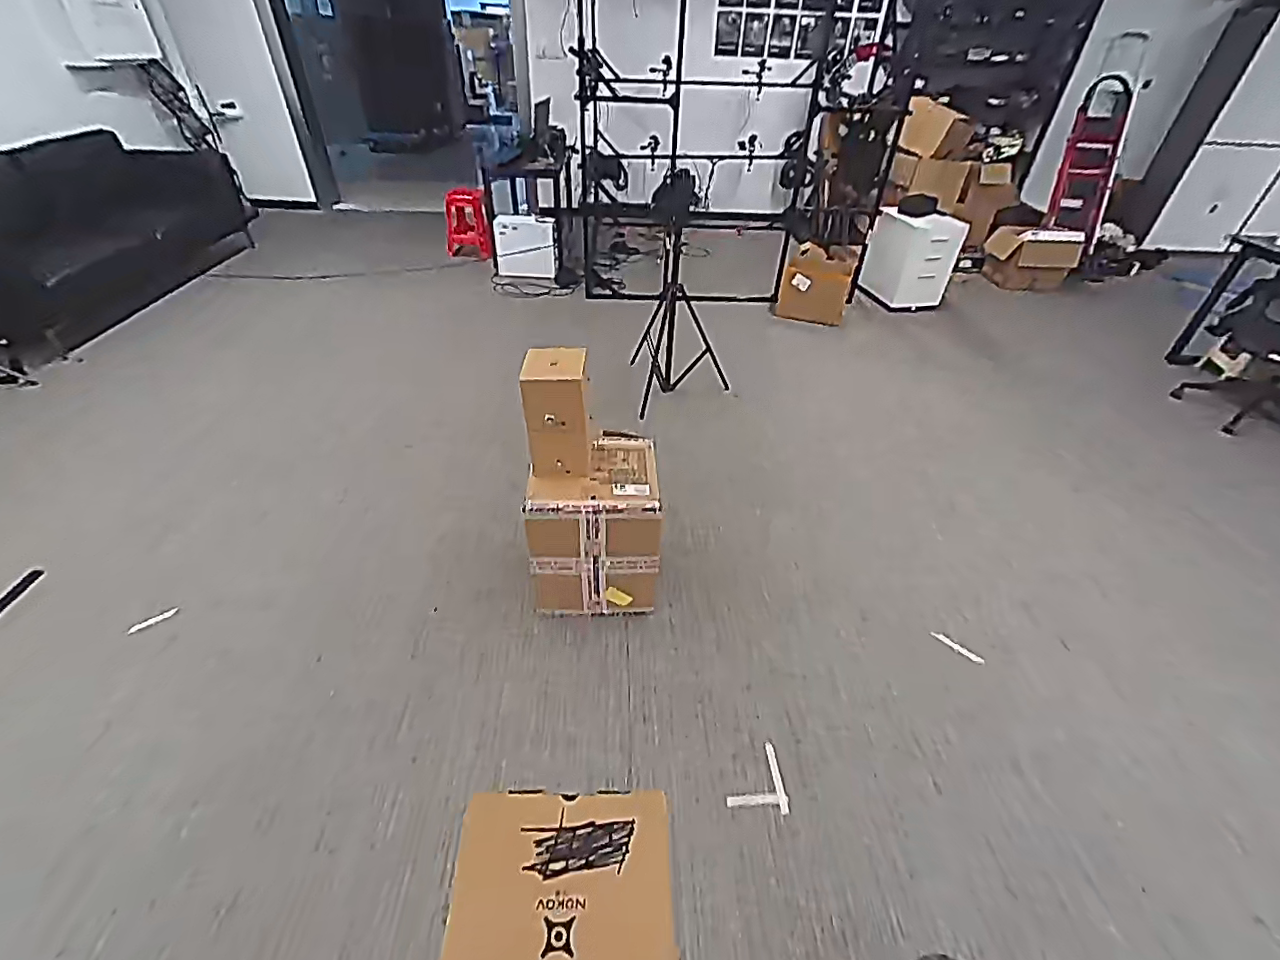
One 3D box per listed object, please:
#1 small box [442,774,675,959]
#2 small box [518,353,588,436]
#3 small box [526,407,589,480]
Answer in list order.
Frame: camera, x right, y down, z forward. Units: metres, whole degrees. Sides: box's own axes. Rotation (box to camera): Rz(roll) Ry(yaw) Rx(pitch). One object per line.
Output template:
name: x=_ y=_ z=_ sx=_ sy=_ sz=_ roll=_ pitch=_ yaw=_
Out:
small box: x=-0.063 y=0.374 z=0.456 sx=0.168 sy=0.176 sz=0.179 roll=3 pitch=41 yaw=-4
small box: x=-0.237 y=-0.241 z=1.518 sx=0.168 sy=0.176 sz=0.179 roll=-1 pitch=41 yaw=-1
small box: x=-0.241 y=-0.118 z=1.624 sx=0.168 sy=0.176 sz=0.179 roll=-1 pitch=41 yaw=-1
